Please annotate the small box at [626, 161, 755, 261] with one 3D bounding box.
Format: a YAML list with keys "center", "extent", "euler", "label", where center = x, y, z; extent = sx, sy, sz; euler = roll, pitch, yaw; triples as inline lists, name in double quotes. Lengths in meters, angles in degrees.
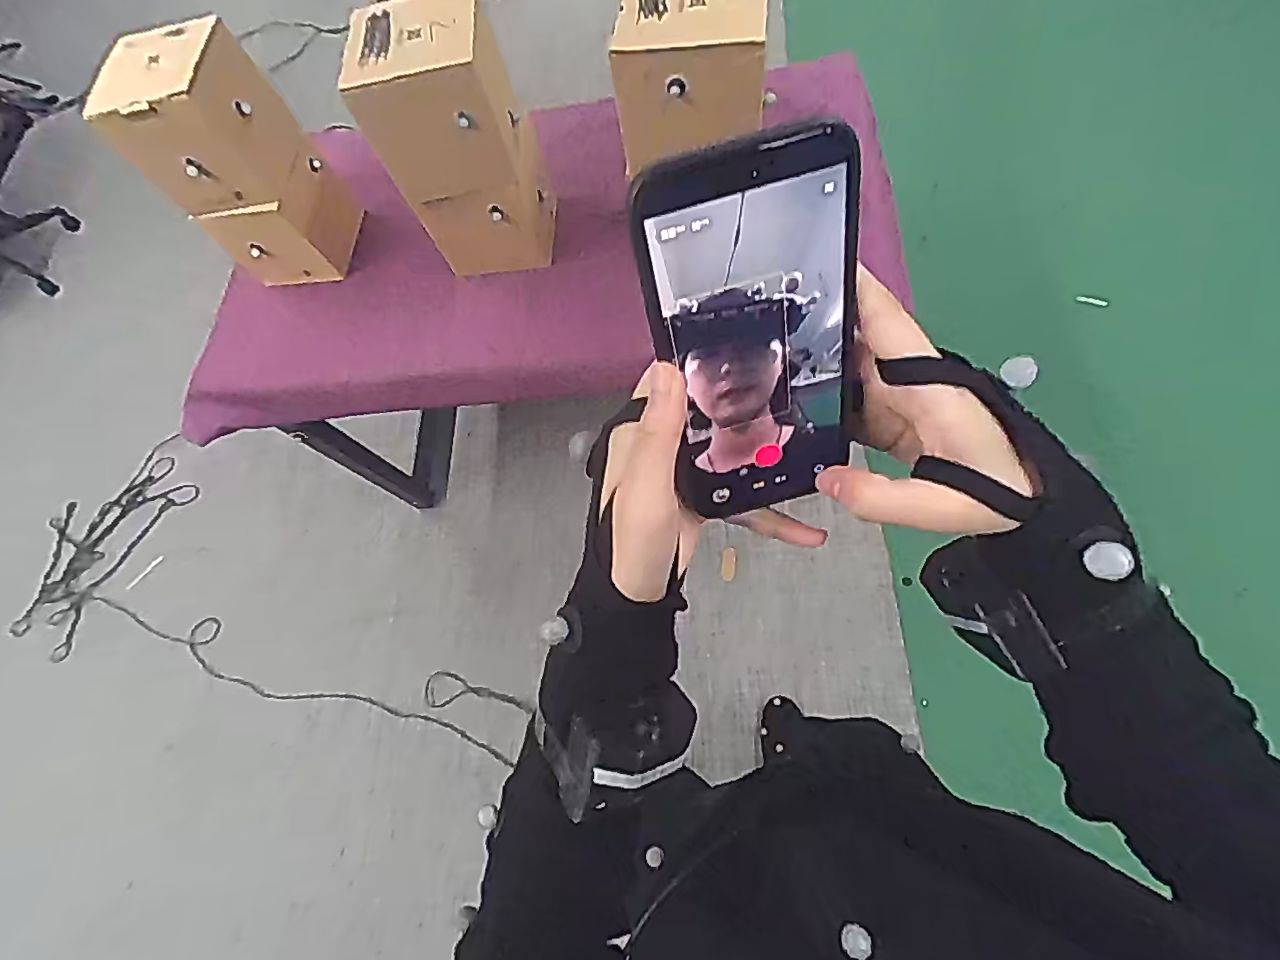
- center: [0.088, -0.466, 0.850]
  extent: [0.179, 0.176, 0.168]
  euler: [5, 69, 12]
  label: "small box"

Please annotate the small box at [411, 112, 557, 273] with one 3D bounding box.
- center: [-0.248, -0.472, 0.908]
  extent: [0.179, 0.176, 0.168]
  euler: [-1, 68, 9]
  label: "small box"

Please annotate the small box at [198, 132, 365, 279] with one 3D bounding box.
- center: [-0.632, -0.483, 0.978]
  extent: [0.168, 0.176, 0.179]
  euler: [-1, 69, 9]
  label: "small box"

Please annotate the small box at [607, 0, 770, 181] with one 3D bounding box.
- center: [0.071, -0.511, 0.693]
  extent: [0.179, 0.176, 0.168]
  euler: [4, 69, 11]
  label: "small box"

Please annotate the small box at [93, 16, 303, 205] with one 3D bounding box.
- center: [-0.658, -0.551, 0.830]
  extent: [0.168, 0.176, 0.179]
  euler: [-5, 69, 7]
  label: "small box"
